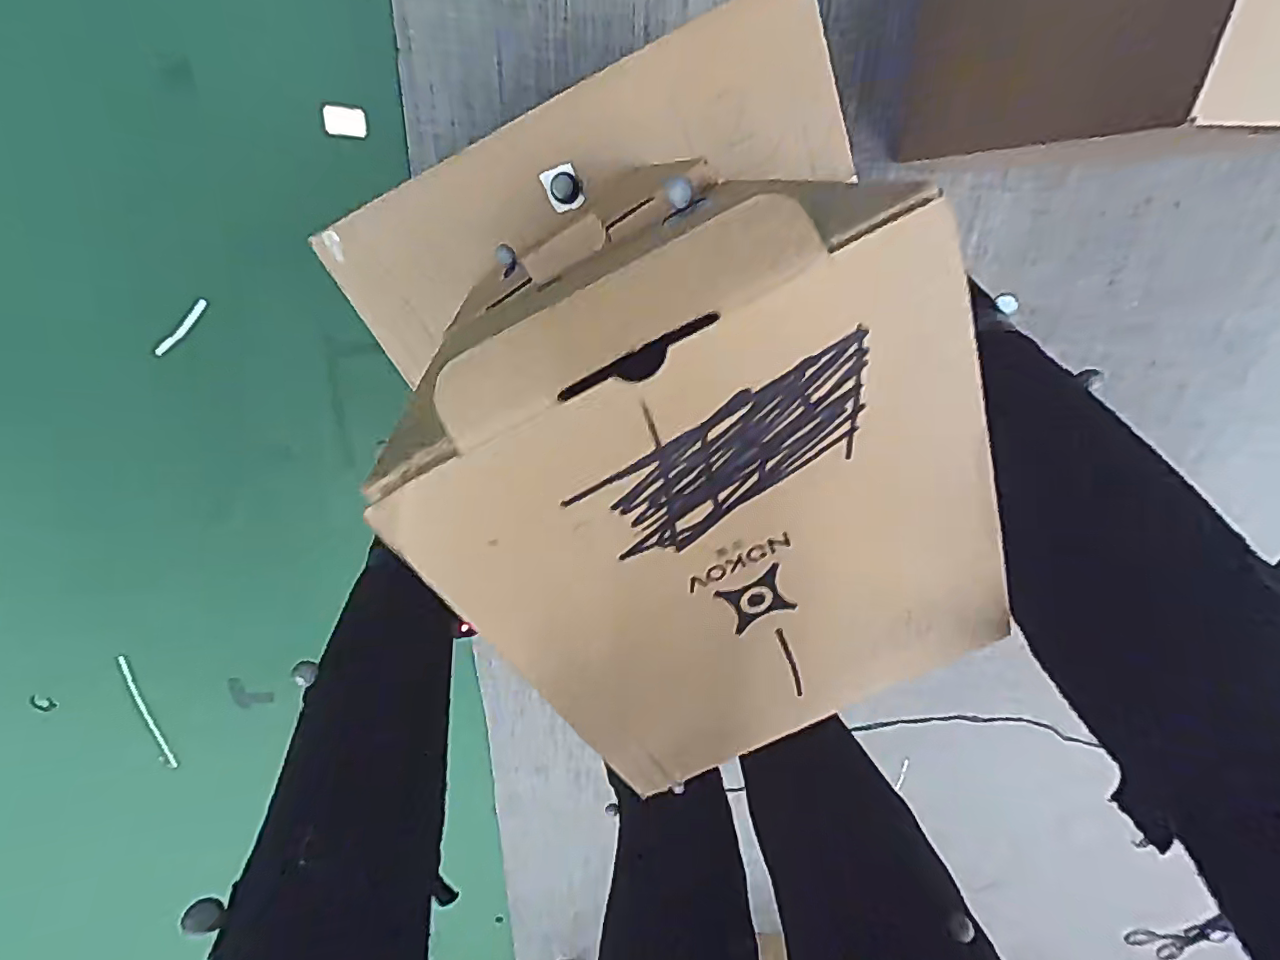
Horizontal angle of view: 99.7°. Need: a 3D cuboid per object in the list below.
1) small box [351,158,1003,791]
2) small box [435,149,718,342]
[{"bbox_3d":[0.018,-0.012,0.242,0.168,0.176,0.179,-27,120,5],"label":"small box"},{"bbox_3d":[-0.011,-0.095,0.381,0.168,0.176,0.179,-31,119,7],"label":"small box"}]
